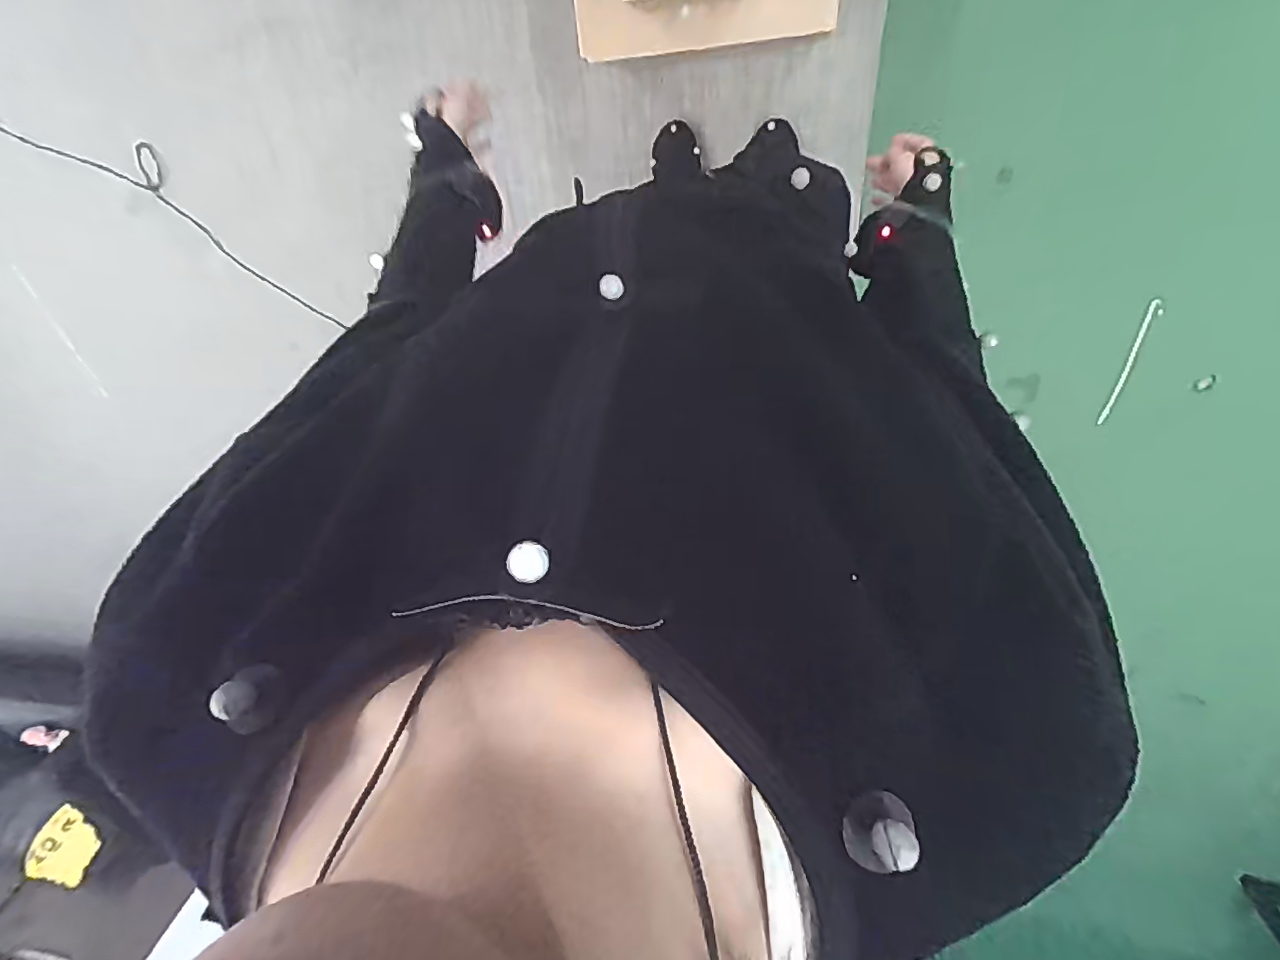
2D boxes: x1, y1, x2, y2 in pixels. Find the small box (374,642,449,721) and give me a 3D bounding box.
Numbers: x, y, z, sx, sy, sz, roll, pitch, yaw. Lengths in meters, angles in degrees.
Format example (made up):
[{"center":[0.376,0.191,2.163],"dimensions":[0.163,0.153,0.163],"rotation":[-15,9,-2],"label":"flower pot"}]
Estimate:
[{"center":[-0.802,0.710,1.911],"dimensions":[0.168,0.176,0.179],"rotation":[30,126,-8],"label":"small box"}]
